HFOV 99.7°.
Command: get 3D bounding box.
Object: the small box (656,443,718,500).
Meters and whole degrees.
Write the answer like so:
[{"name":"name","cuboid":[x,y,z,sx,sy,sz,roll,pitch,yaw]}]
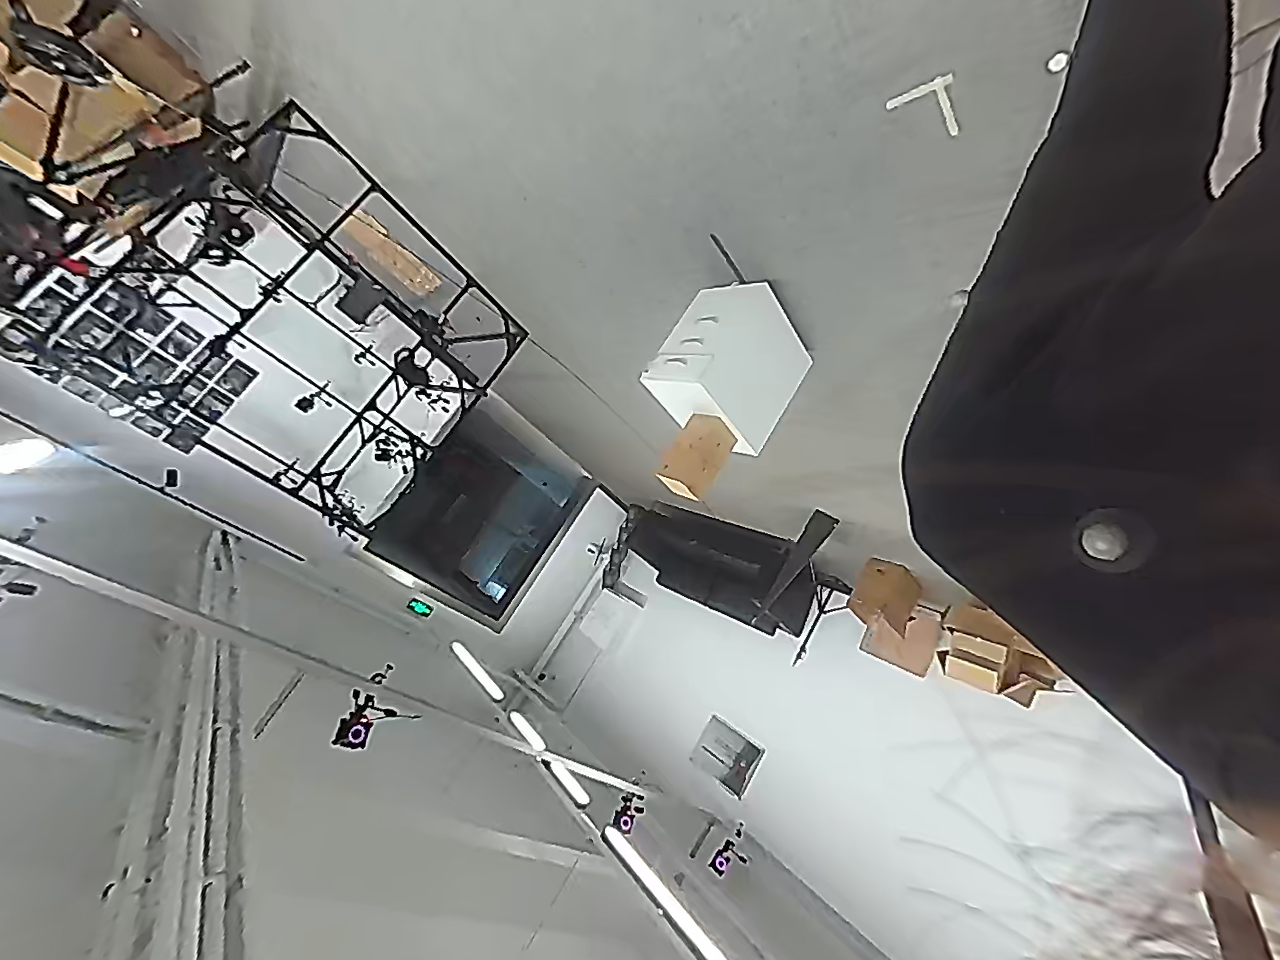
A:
[{"name":"small box","cuboid":[0.210,-0.043,2.367,0.179,0.176,0.168,19,162,48]}]
